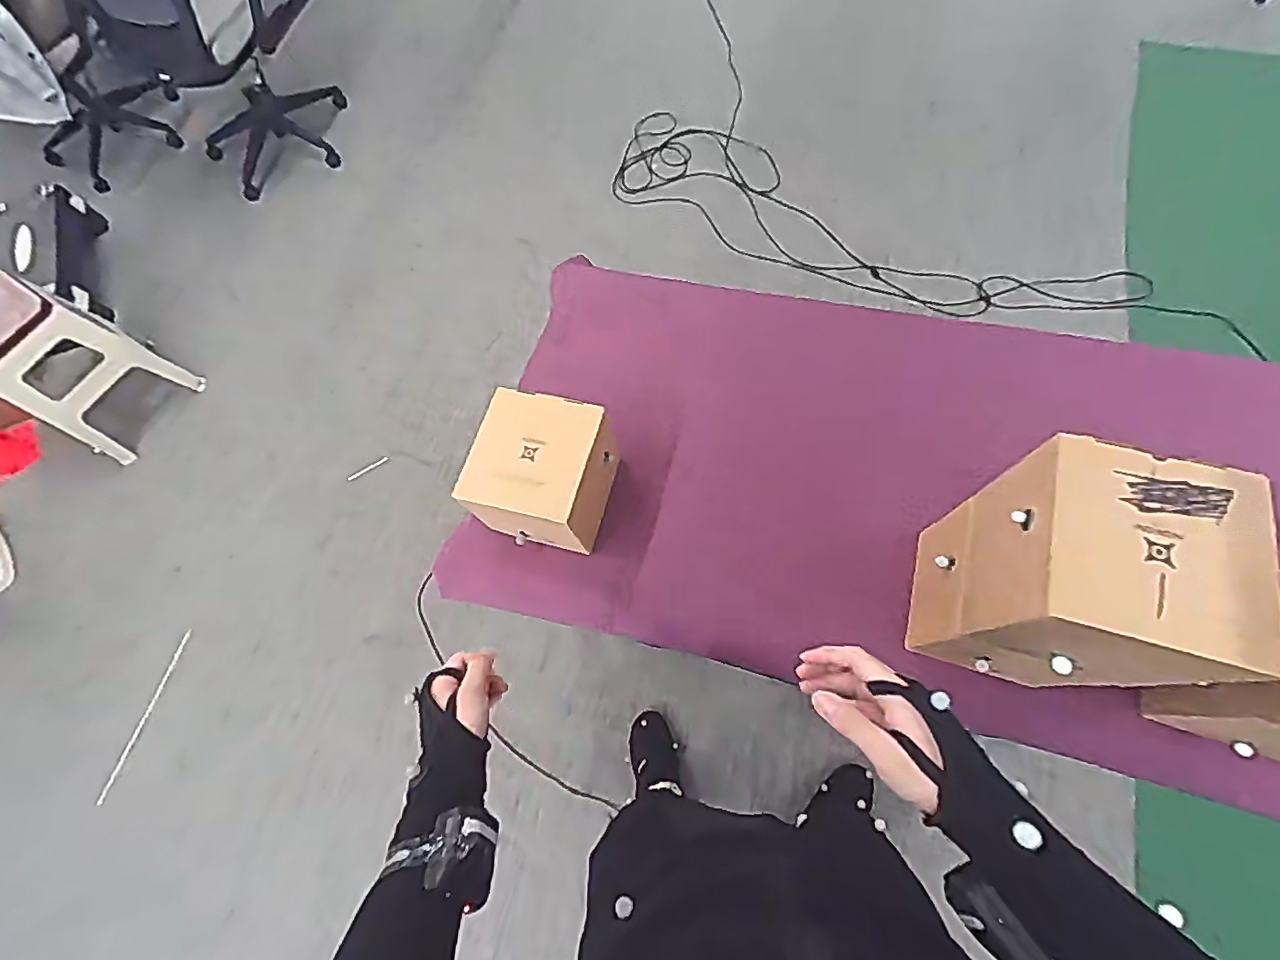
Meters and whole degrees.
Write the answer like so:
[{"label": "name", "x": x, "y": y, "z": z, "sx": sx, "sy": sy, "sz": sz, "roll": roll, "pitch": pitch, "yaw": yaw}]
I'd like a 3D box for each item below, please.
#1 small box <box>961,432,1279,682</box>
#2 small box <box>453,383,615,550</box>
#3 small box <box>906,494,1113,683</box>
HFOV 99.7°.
[{"label": "small box", "x": 0.439, "y": 0.082, "z": 0.525, "sx": 0.168, "sy": 0.176, "sz": 0.179, "roll": 15, "pitch": 70, "yaw": 12}, {"label": "small box", "x": -0.141, "y": -0.014, "z": 0.801, "sx": 0.168, "sy": 0.176, "sz": 0.179, "roll": 13, "pitch": 71, "yaw": 11}, {"label": "small box", "x": 0.453, "y": 0.144, "z": 0.677, "sx": 0.168, "sy": 0.176, "sz": 0.179, "roll": 15, "pitch": 70, "yaw": 12}]
